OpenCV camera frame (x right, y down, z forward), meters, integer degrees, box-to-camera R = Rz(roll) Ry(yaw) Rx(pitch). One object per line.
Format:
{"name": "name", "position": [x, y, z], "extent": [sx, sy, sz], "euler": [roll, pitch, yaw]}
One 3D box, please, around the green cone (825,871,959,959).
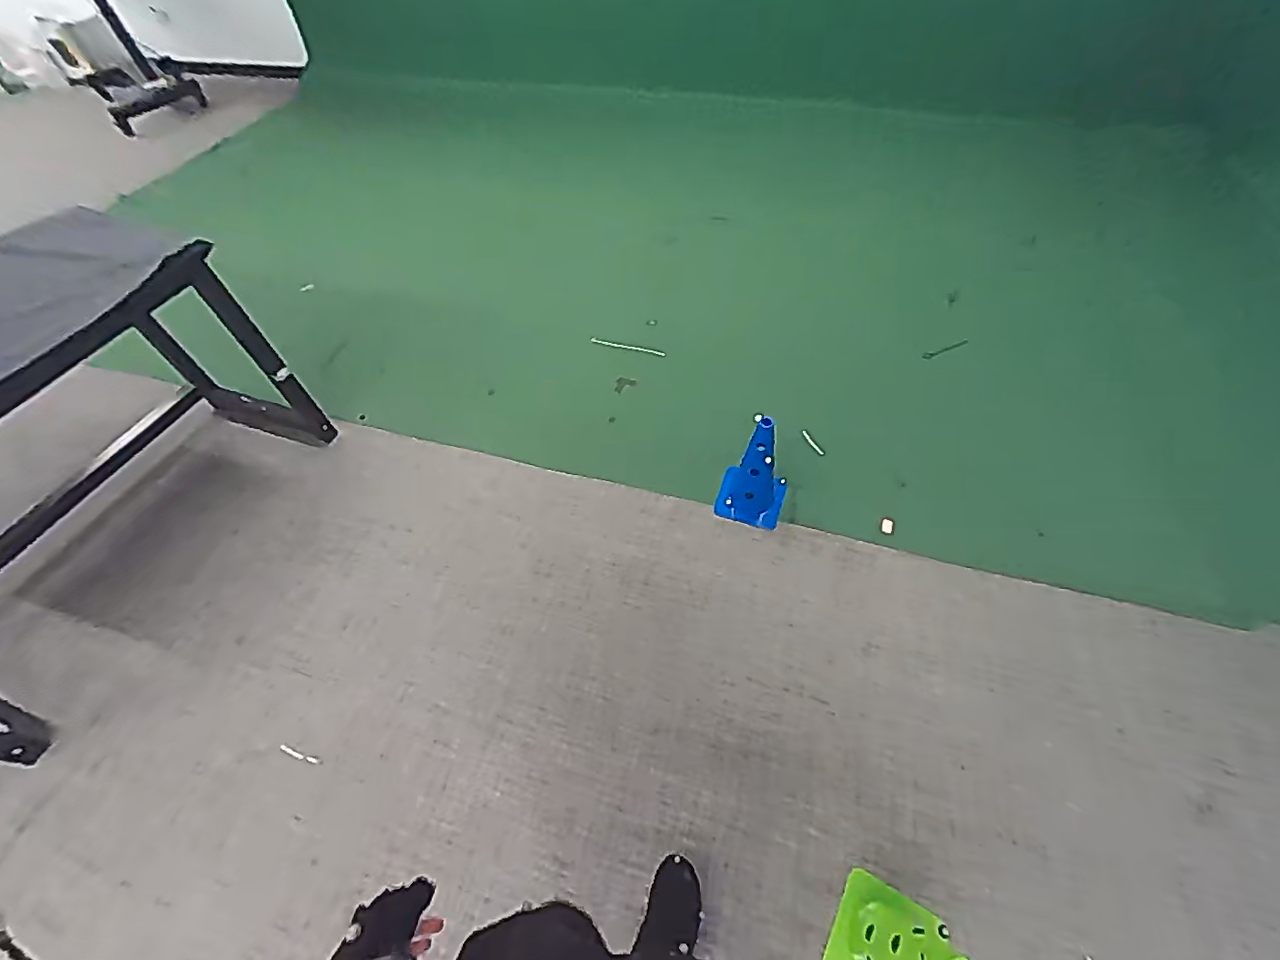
{"name": "green cone", "position": [0.475, 0.822, 0.926], "extent": [0.200, 0.368, 0.202], "euler": [23, 58, 20]}
